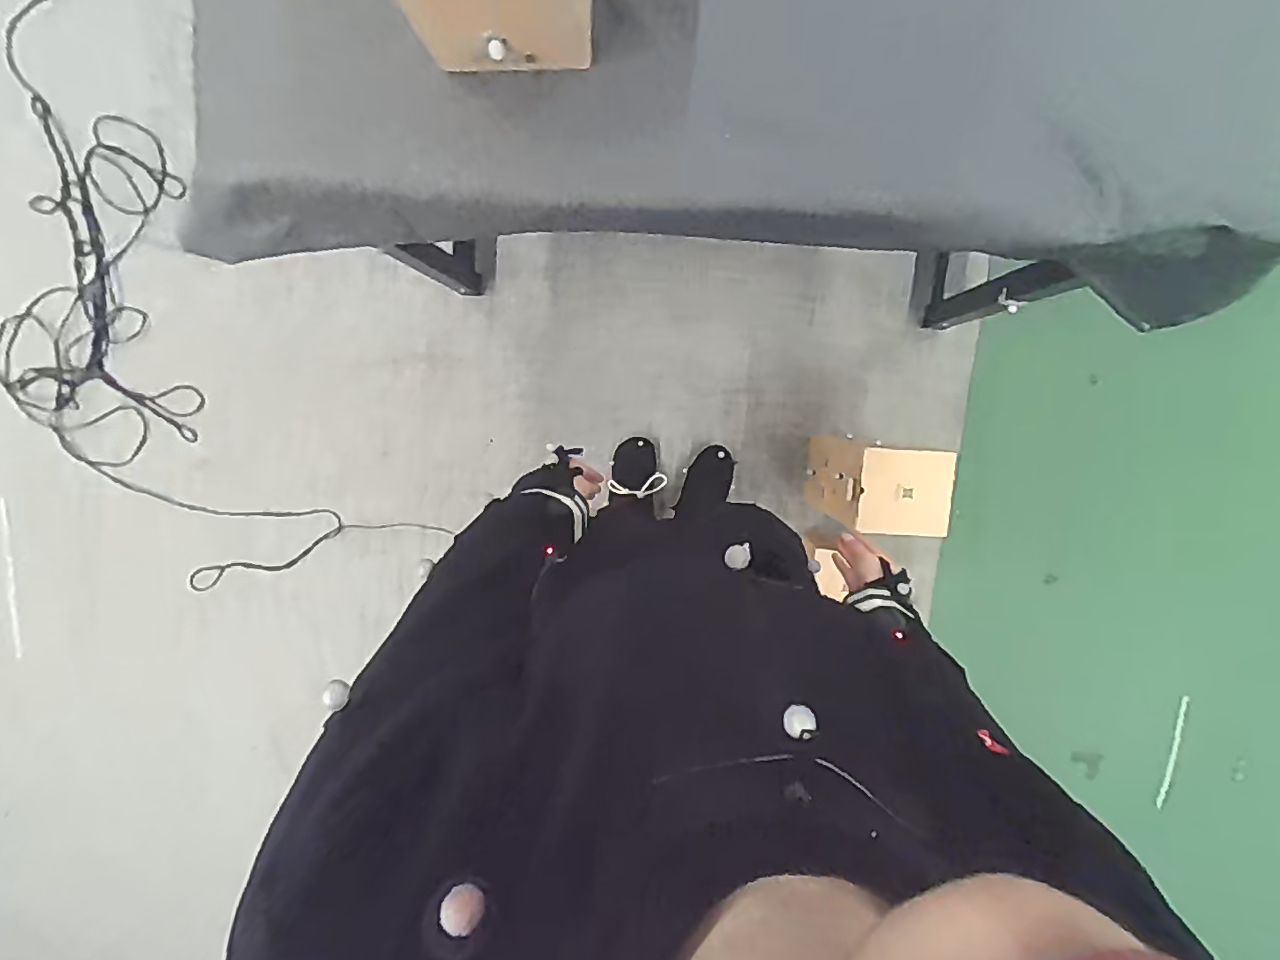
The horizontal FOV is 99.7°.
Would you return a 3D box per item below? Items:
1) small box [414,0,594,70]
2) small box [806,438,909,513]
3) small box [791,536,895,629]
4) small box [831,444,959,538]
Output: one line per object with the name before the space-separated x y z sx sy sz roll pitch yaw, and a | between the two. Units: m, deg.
small box | -0.133 -0.523 0.495 0.168 0.176 0.179 2 98 3
small box | 0.496 -0.009 1.259 0.179 0.176 0.168 4 96 3
small box | 0.476 0.236 1.291 0.179 0.176 0.168 7 96 4
small box | 0.506 0.015 1.095 0.179 0.176 0.168 3 97 3
